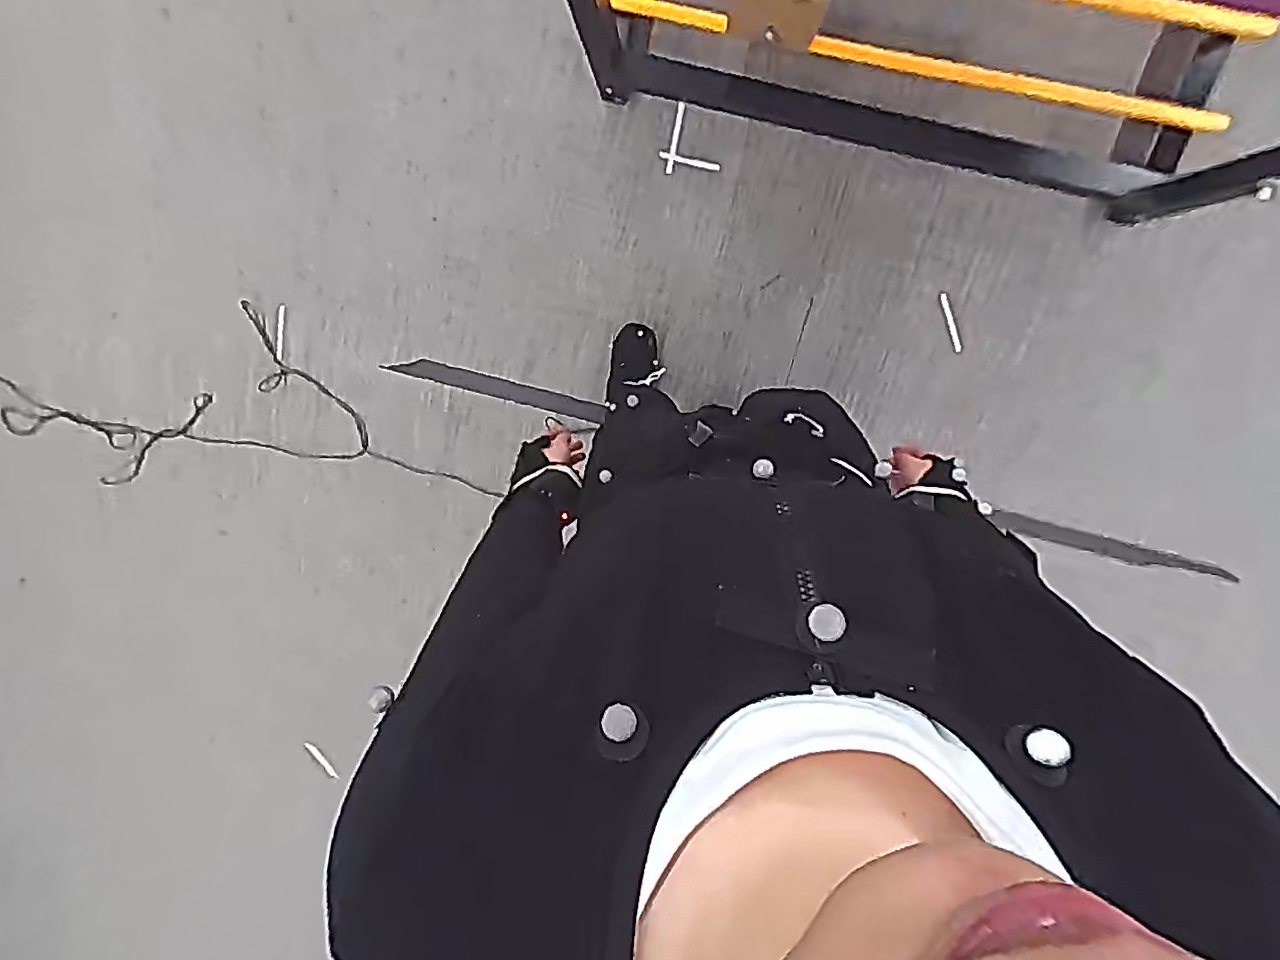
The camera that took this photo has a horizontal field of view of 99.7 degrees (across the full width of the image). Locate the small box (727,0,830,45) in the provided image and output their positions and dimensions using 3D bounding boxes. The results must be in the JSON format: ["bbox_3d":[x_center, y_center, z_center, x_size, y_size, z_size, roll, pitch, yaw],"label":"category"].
[{"bbox_3d":[0.250,-0.899,0.929,0.168,0.176,0.179,10,108,1],"label":"small box"}]
